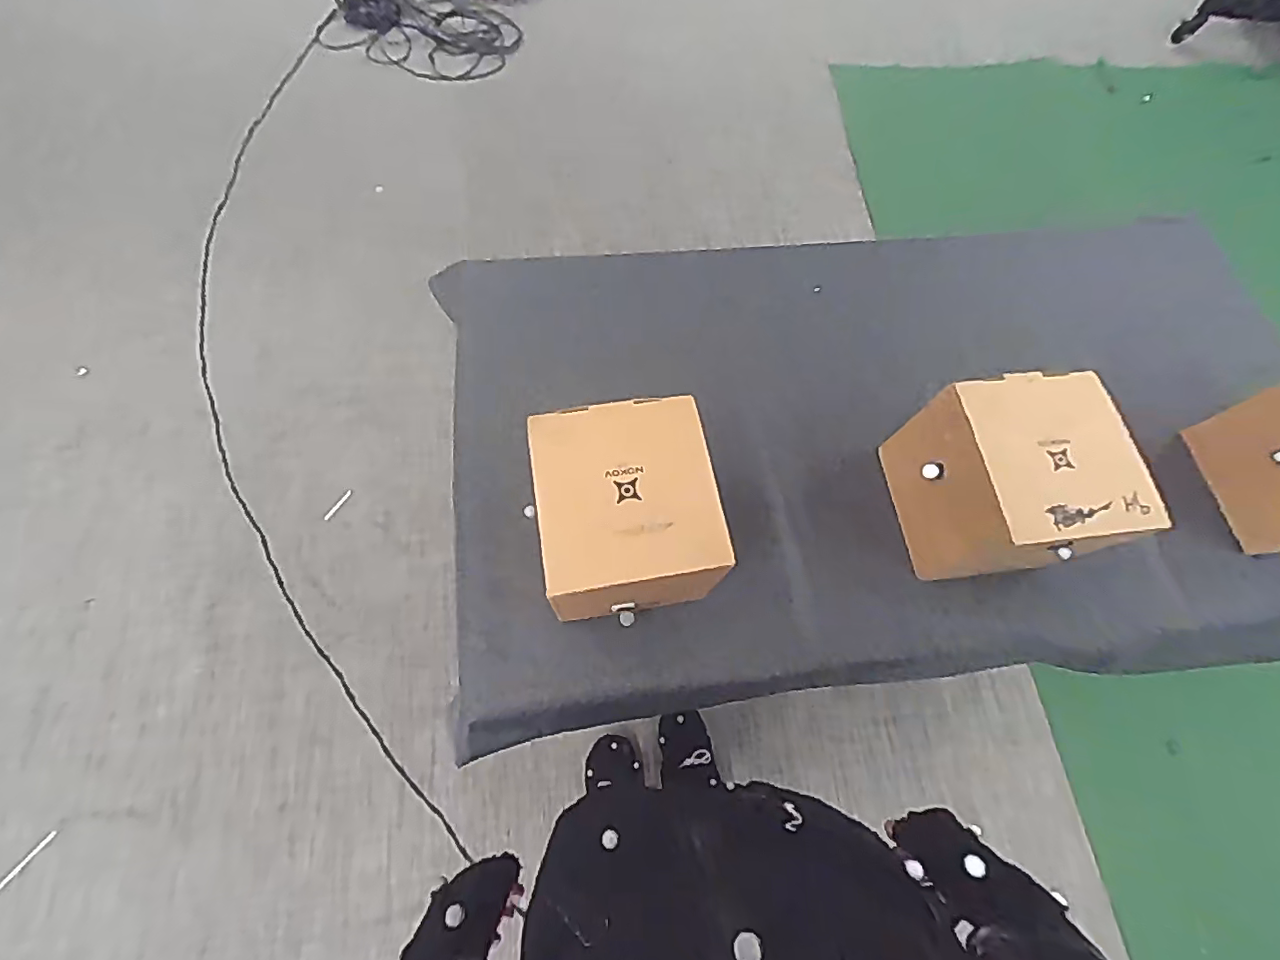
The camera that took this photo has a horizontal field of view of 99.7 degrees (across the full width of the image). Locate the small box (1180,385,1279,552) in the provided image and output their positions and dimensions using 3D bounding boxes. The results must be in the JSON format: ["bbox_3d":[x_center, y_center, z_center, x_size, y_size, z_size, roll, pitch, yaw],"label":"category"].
[{"bbox_3d":[0.829,-0.018,0.645,0.168,0.176,0.179,-5,67,-5],"label":"small box"}]

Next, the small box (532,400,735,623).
[{"bbox_3d":[-0.015,0.041,0.571,0.168,0.176,0.179,-9,69,-6],"label":"small box"}]

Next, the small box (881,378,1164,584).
[{"bbox_3d":[0.404,0.007,0.612,0.168,0.176,0.179,-6,68,-5],"label":"small box"}]
